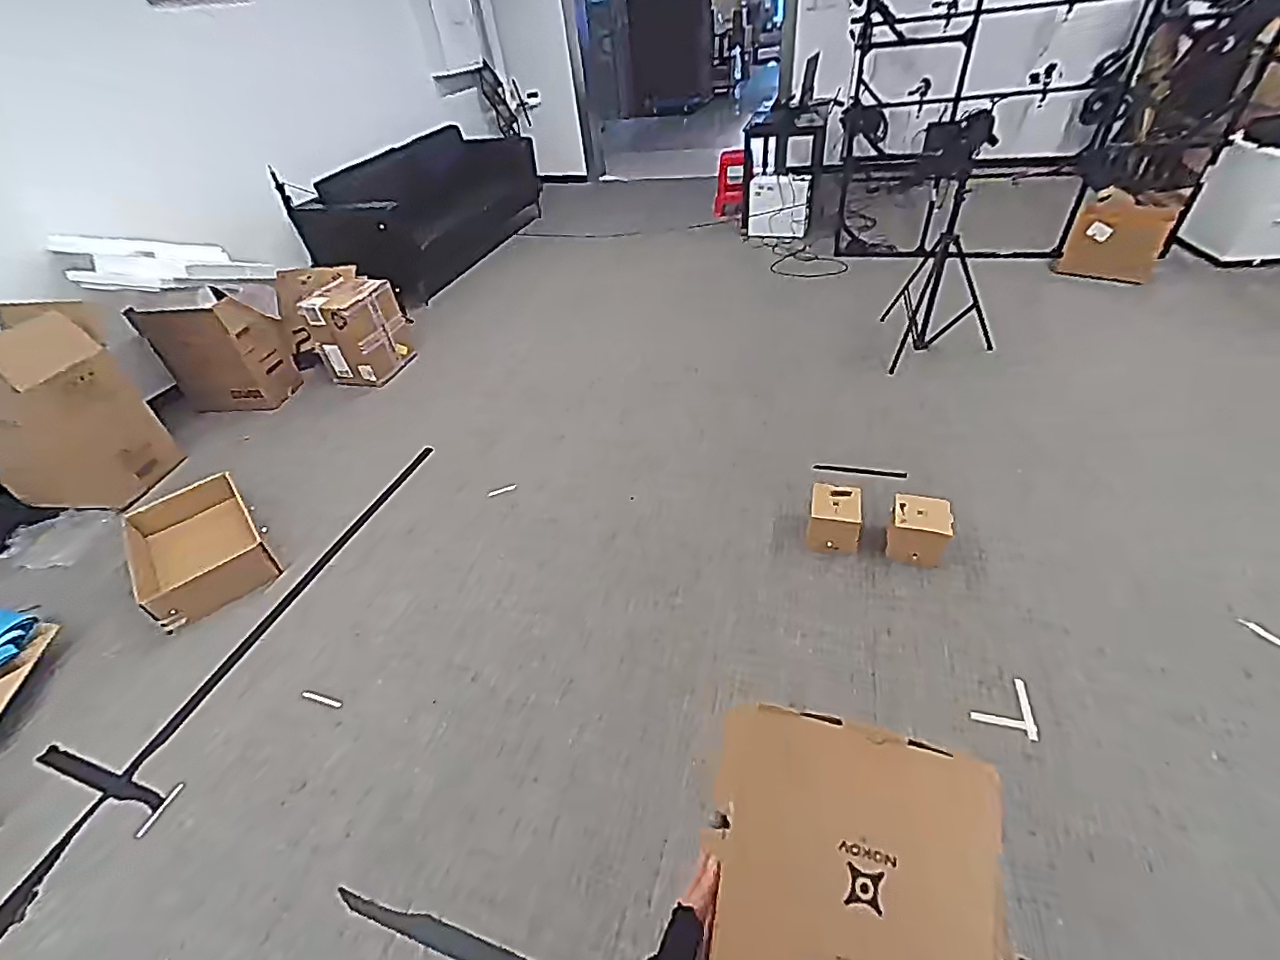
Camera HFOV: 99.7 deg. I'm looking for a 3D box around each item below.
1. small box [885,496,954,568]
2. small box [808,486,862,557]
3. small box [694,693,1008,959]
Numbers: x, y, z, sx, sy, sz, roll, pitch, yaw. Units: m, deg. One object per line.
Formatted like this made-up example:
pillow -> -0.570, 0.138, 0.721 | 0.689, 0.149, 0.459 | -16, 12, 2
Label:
small box -> 0.965, 0.184, 1.874 | 0.179, 0.176, 0.168 | 10, 44, 18
small box -> 0.703, 0.149, 1.952 | 0.168, 0.176, 0.179 | 7, 44, 16
small box -> 0.141, 0.278, 0.405 | 0.168, 0.176, 0.179 | 14, 66, 8
